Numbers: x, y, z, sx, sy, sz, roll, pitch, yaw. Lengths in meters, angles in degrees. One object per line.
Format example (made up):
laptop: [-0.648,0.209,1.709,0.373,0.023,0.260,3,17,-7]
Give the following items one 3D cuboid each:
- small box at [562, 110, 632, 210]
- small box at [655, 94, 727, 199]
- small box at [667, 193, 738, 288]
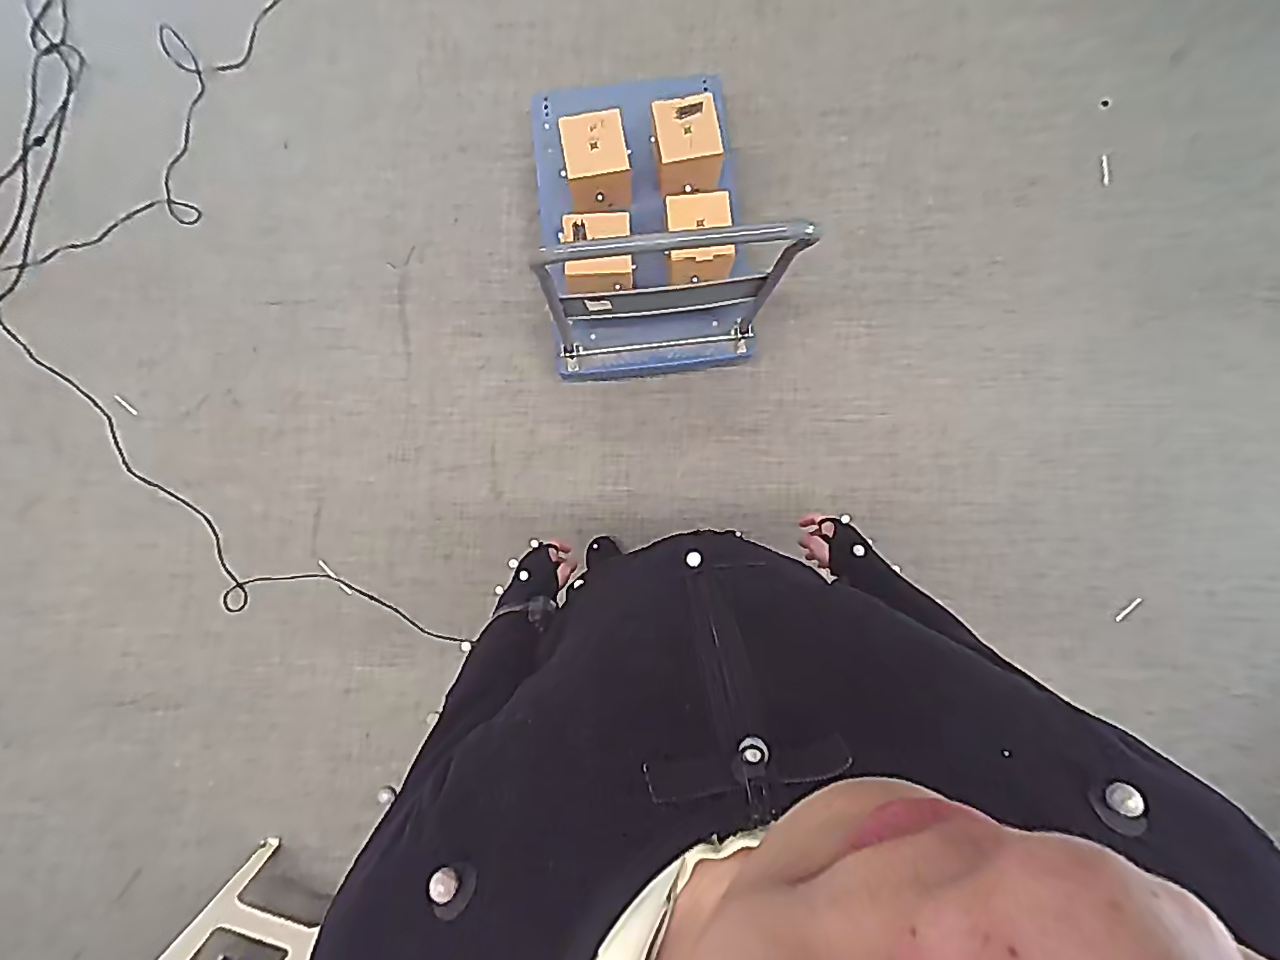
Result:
small box: [-0.113,-0.872,1.495,0.168,0.176,0.179,-10,85,-1]
small box: [0.134,-0.917,1.497,0.168,0.176,0.179,-10,86,0]
small box: [0.164,-0.649,1.474,0.168,0.176,0.179,-5,85,0]
